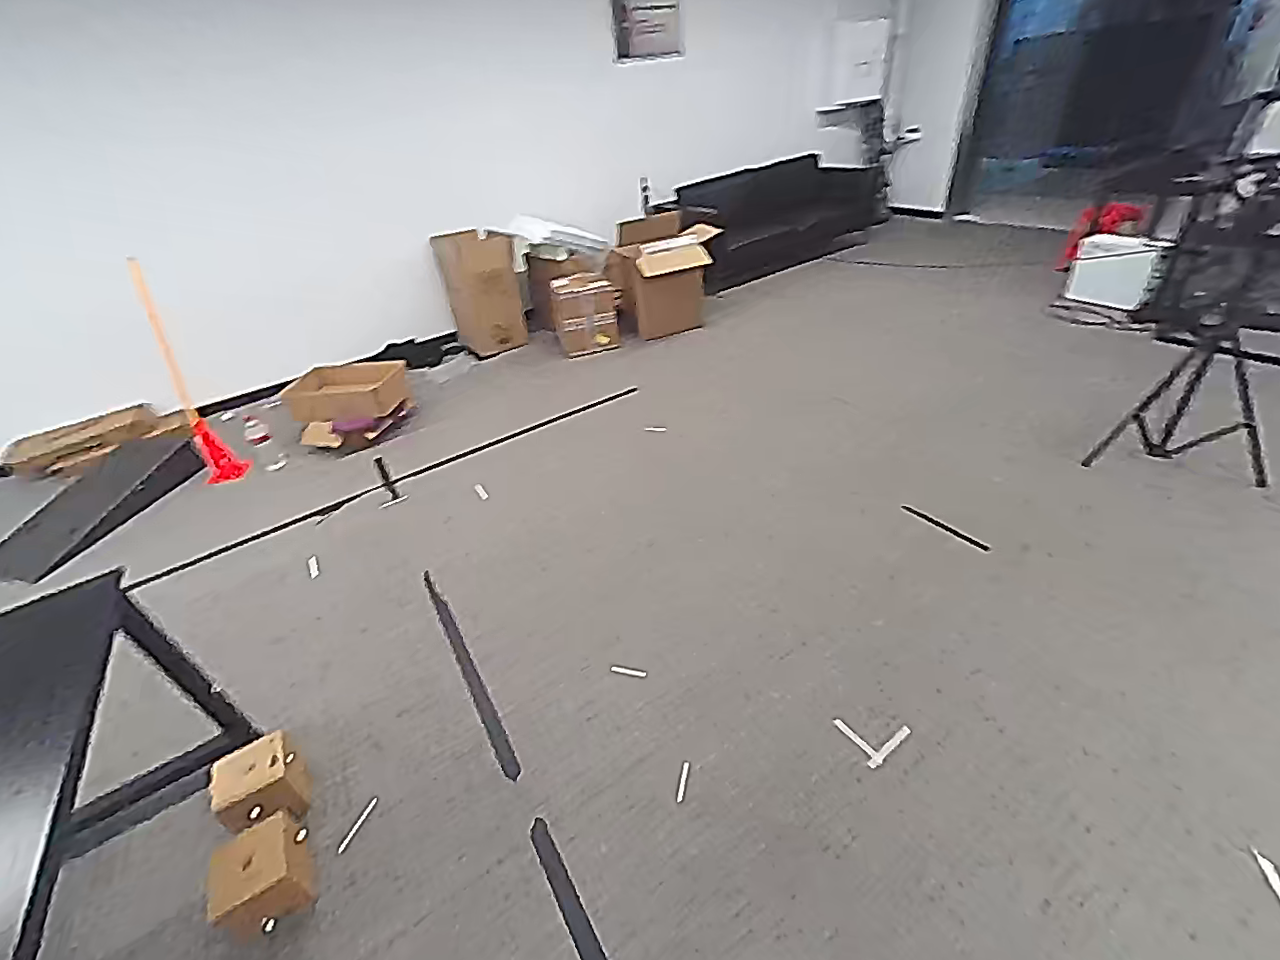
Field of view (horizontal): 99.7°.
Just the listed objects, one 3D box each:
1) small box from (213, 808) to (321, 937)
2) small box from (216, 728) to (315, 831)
[{"bbox_3d":[-0.924,0.978,1.347,0.168,0.176,0.179,-26,40,-22],"label":"small box"},{"bbox_3d":[-1.060,0.859,1.538,0.179,0.176,0.168,-26,40,-23],"label":"small box"}]
